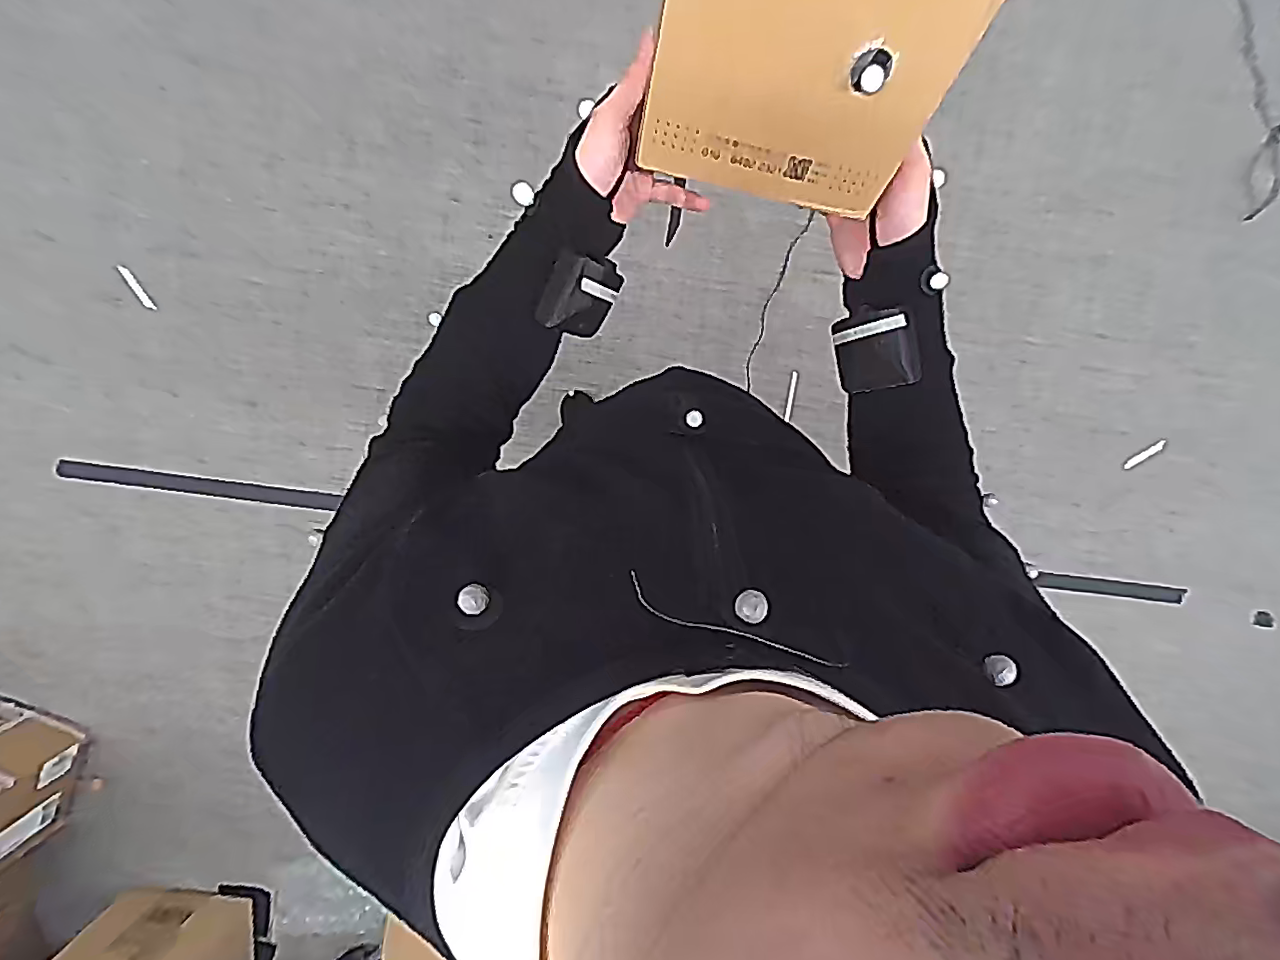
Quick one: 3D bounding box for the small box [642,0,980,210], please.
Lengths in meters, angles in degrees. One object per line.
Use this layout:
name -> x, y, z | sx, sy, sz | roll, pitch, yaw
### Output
small box -> 0.101, -0.310, 0.346 | 0.168, 0.176, 0.179 | 11, 63, -7
